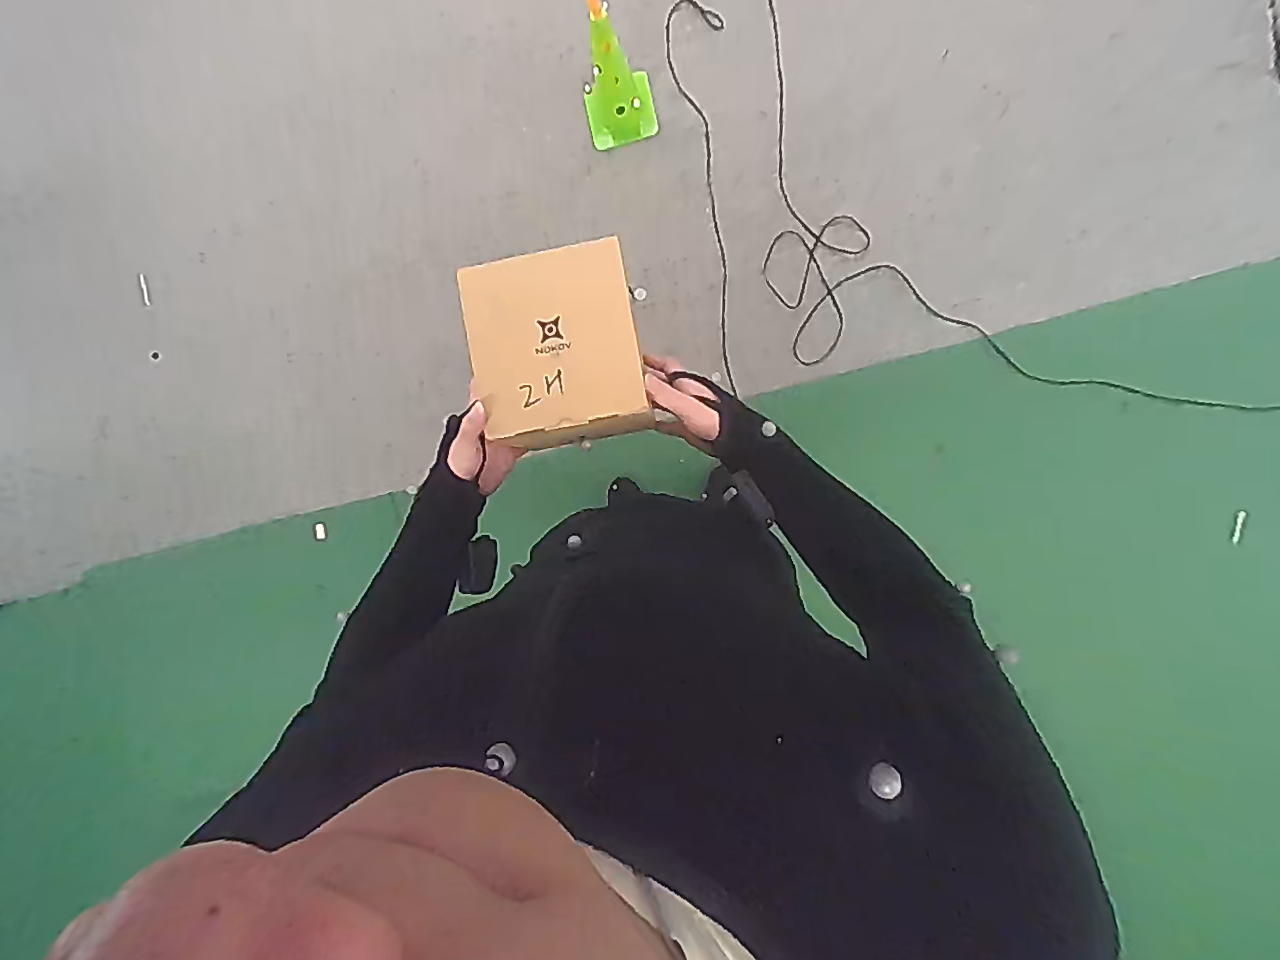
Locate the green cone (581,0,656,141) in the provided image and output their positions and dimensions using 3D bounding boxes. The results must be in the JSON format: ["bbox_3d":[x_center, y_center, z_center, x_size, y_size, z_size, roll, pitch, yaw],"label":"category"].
[{"bbox_3d":[-0.081,-1.130,1.458,0.202,0.368,0.200,-13,91,5],"label":"green cone"}]
